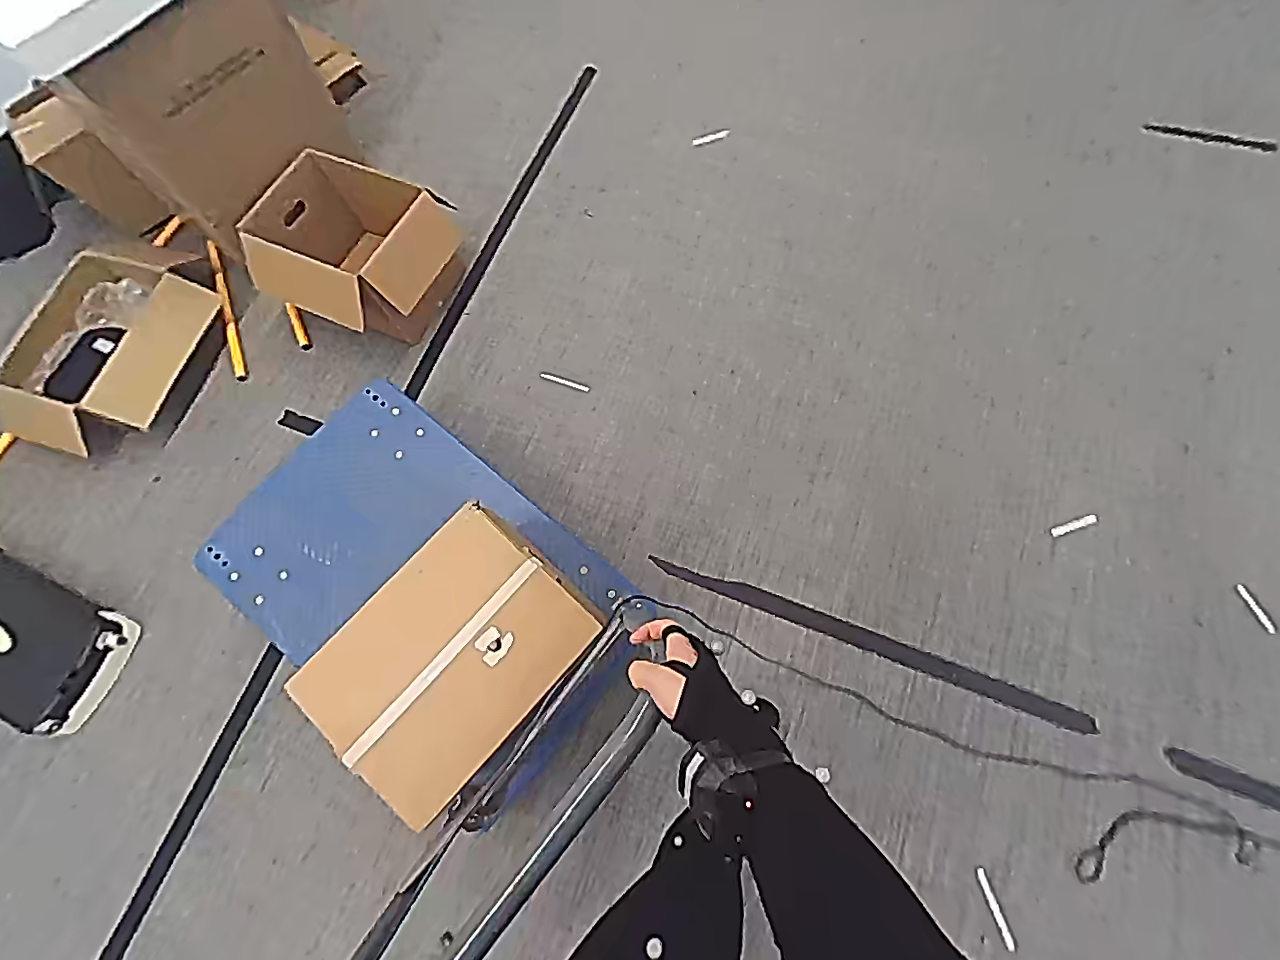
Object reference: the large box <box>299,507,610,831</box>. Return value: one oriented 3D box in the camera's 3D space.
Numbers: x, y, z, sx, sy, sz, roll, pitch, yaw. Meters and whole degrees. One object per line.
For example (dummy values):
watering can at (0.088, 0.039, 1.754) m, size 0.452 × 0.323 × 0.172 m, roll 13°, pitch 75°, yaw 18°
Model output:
large box at (-0.301, 0.323, 1.007) m, size 0.320 × 0.320 × 0.408 m, roll 41°, pitch 78°, yaw 8°
